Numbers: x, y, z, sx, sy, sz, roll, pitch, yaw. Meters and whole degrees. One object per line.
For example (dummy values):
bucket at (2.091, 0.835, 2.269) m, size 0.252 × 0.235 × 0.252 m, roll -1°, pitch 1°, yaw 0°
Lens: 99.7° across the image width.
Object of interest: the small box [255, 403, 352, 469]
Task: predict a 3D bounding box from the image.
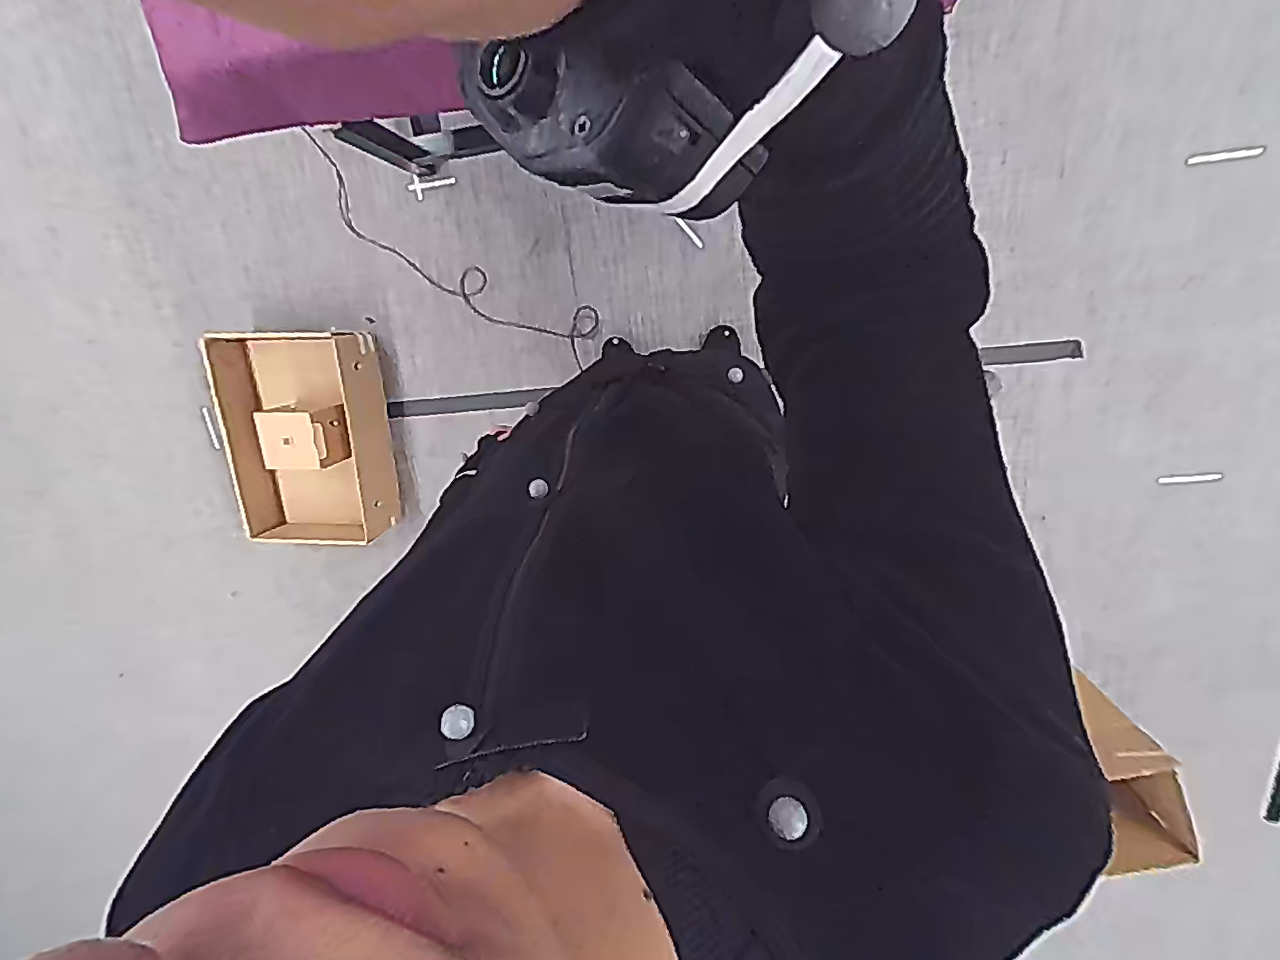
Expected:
small box at (-0.972, -0.134, 1.585) m, size 0.179 × 0.176 × 0.168 m, roll 1°, pitch 107°, yaw 6°
